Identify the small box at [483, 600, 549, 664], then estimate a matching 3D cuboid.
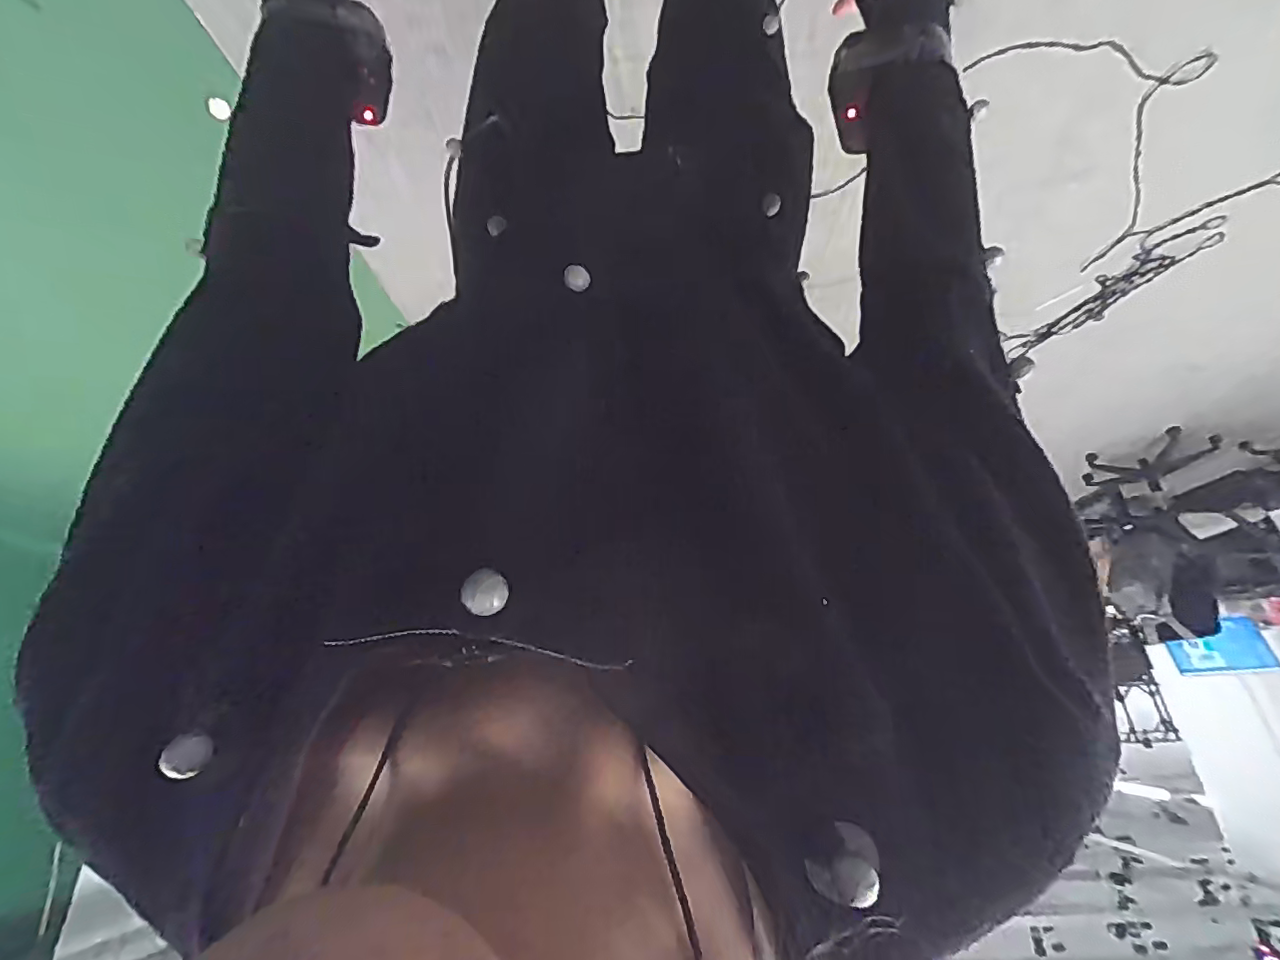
[{"bbox_3d":[-0.378,0.472,1.678,0.168,0.176,0.179,-5,157,0],"label":"small box"}]
